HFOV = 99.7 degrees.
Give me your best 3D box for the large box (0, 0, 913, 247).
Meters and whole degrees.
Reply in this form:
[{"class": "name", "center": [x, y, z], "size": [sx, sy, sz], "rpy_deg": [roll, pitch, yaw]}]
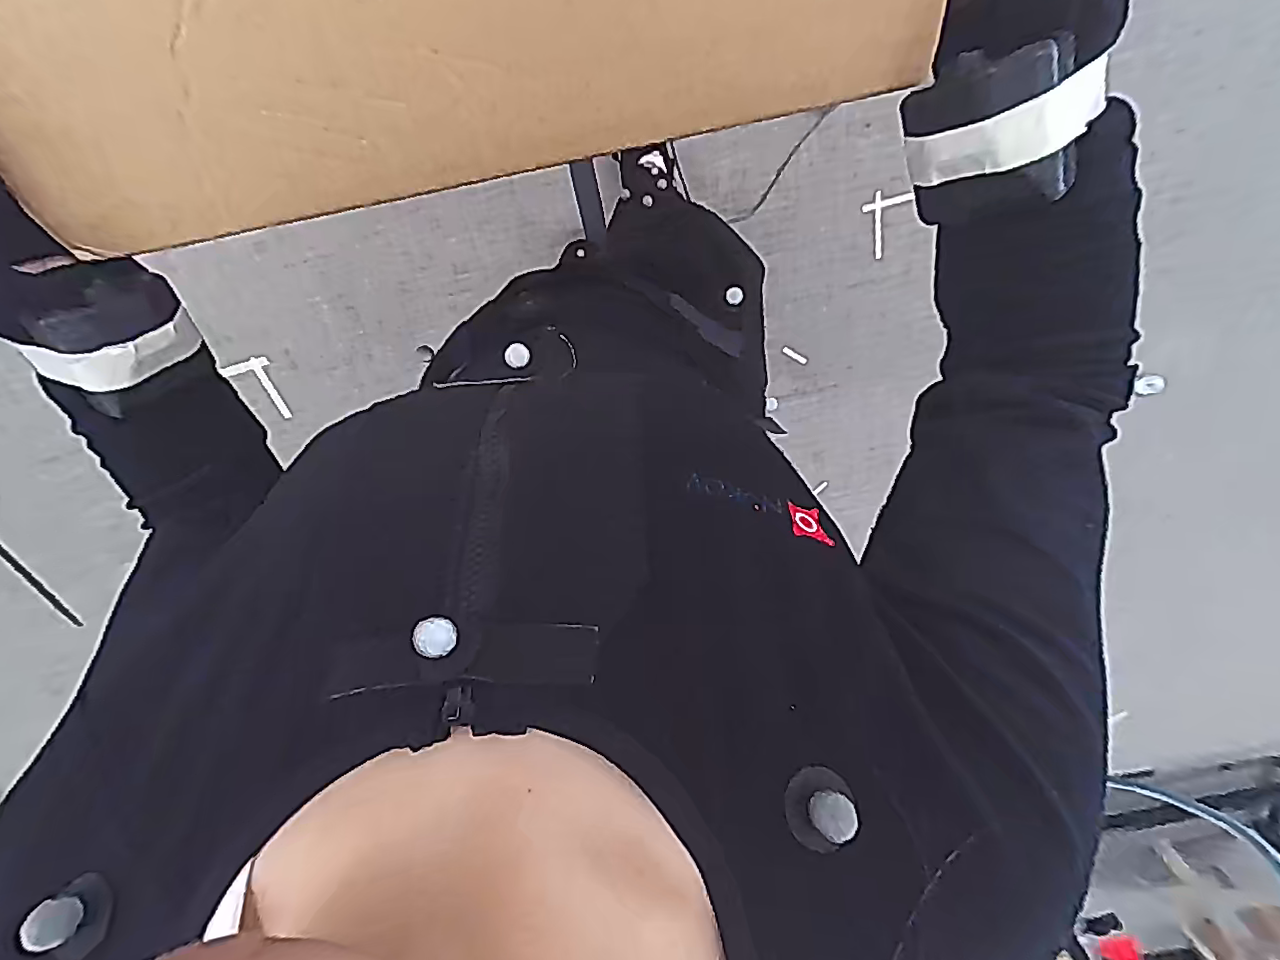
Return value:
[{"class": "large box", "center": [-0.112, -0.359, 0.238], "size": [0.408, 0.320, 0.320], "rpy_deg": [-9, 139, 4]}]
